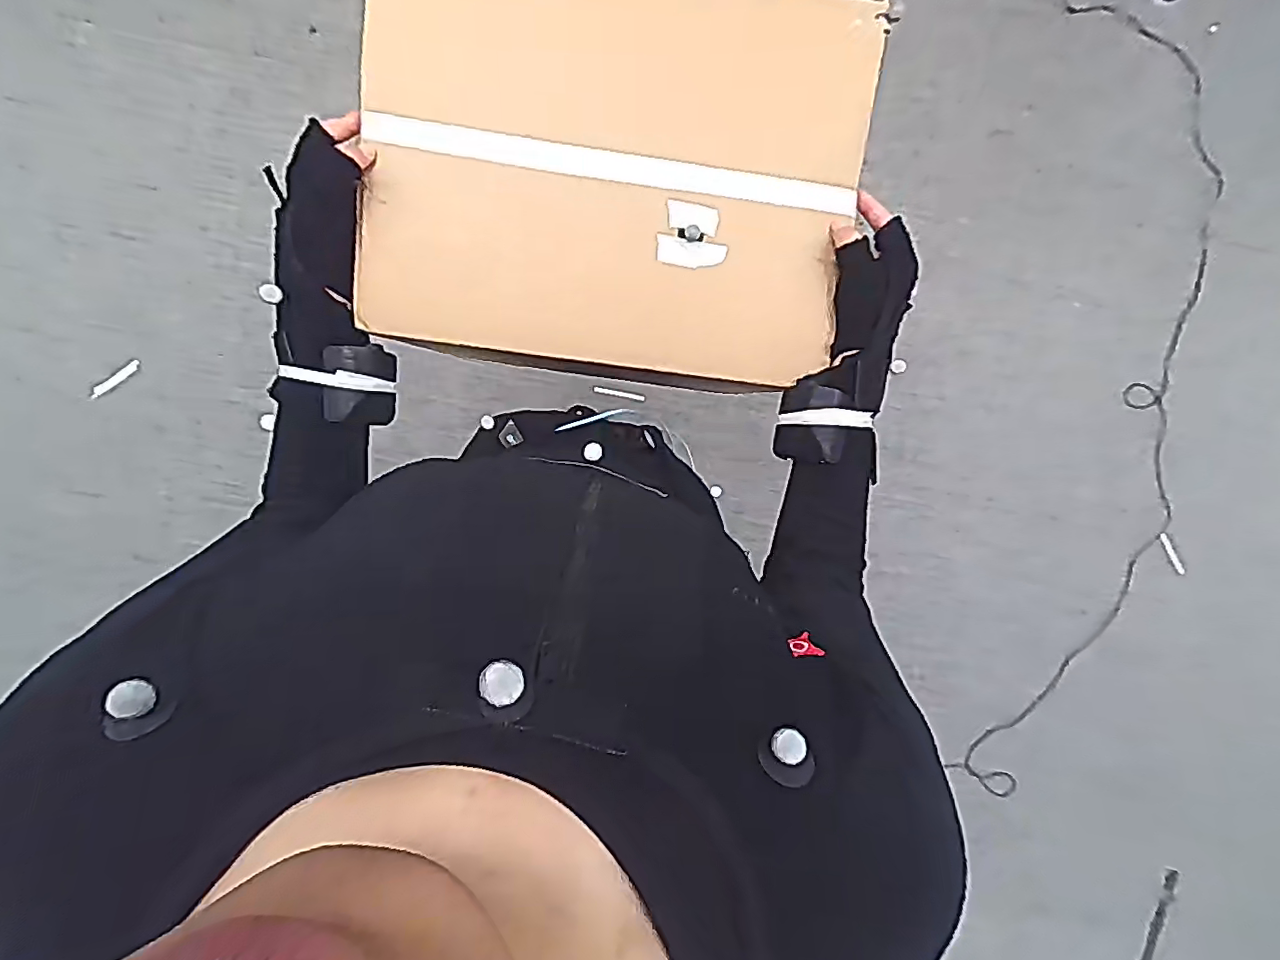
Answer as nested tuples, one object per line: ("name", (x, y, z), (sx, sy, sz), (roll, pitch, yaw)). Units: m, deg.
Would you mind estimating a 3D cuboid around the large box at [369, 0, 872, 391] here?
("large box", (-0.032, -0.276, 0.601), (0.408, 0.320, 0.320), (7, 99, -6))
